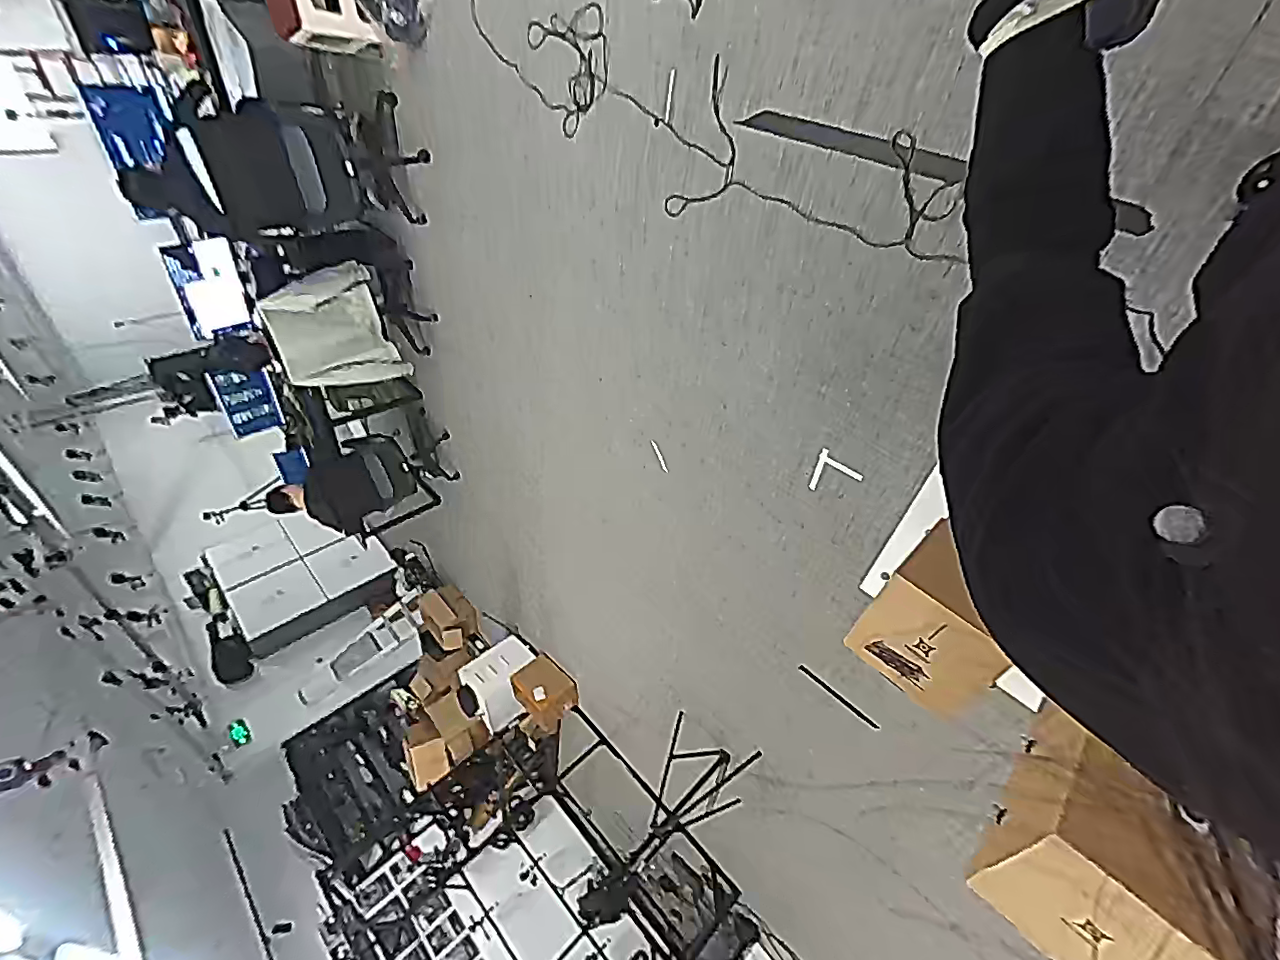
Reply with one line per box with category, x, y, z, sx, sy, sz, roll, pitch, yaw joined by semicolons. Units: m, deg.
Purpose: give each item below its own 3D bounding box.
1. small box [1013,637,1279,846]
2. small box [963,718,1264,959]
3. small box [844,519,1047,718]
small box;0.604;0.327;0.654;0.168;0.176;0.179;37;139;30
small box;0.486;0.394;0.564;0.168;0.176;0.179;36;138;29
small box;0.431;0.189;0.768;0.168;0.176;0.179;39;139;27
